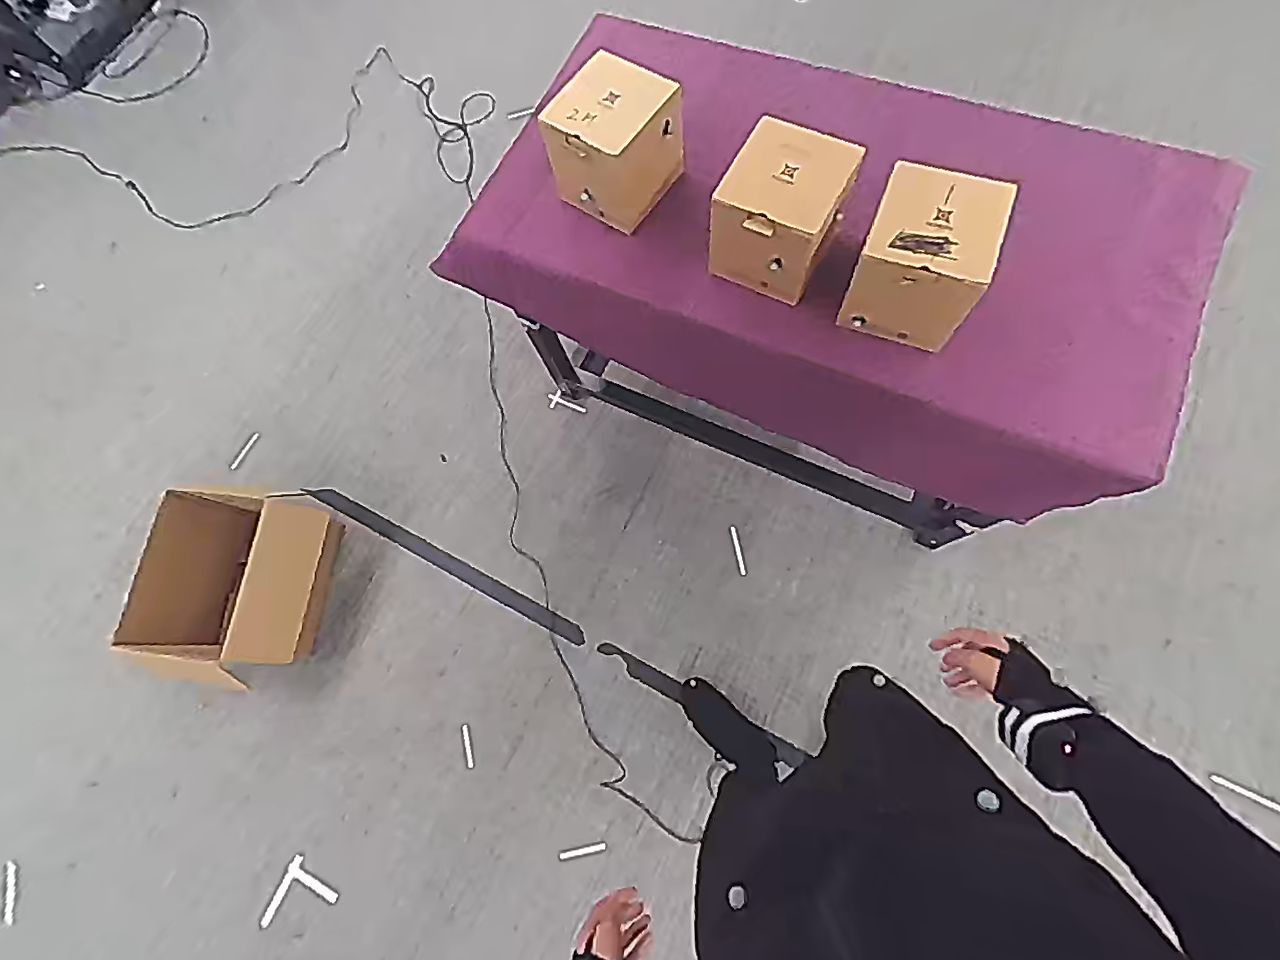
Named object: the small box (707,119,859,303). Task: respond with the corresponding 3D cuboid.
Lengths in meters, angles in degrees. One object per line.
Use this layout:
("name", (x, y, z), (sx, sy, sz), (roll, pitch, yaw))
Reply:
("small box", (0.219, -0.419, 0.865), (0.168, 0.176, 0.179), (28, 78, 13))

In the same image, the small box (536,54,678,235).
("small box", (-0.047, -0.574, 0.940), (0.168, 0.176, 0.179), (34, 80, 15))

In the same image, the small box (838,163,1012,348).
("small box", (0.413, -0.328, 0.813), (0.168, 0.176, 0.179), (20, 75, 12))
